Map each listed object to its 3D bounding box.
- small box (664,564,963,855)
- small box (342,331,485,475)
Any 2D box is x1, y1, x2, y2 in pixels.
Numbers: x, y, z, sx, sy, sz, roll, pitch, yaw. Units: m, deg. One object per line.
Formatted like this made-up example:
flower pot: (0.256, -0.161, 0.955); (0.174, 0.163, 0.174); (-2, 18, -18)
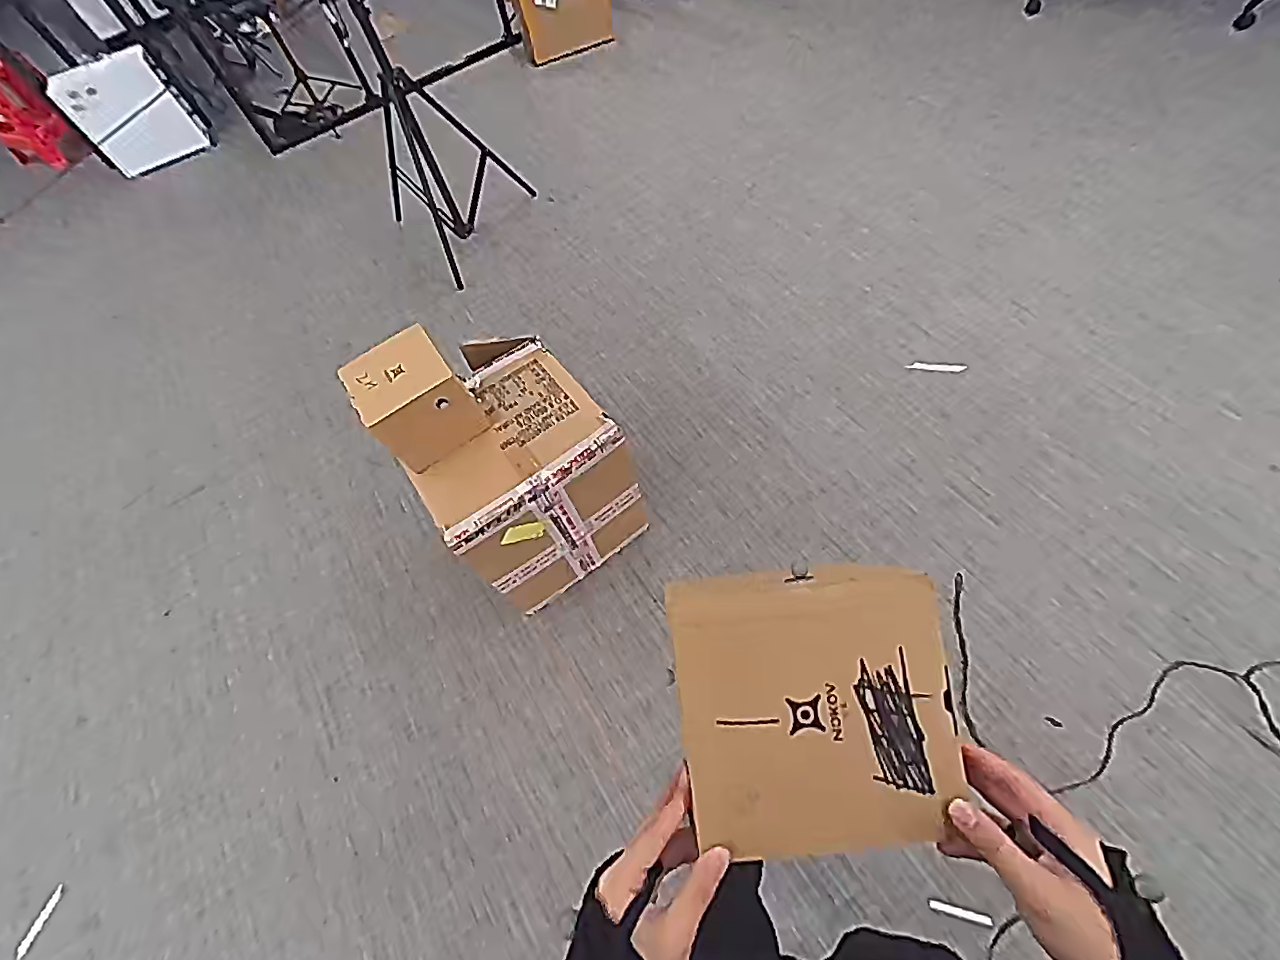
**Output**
small box: (0.115, 0.161, 0.435); (0.179, 0.176, 0.168); (-7, 83, 1)
small box: (-0.423, -0.143, 1.042); (0.179, 0.176, 0.168); (-35, 62, -8)
